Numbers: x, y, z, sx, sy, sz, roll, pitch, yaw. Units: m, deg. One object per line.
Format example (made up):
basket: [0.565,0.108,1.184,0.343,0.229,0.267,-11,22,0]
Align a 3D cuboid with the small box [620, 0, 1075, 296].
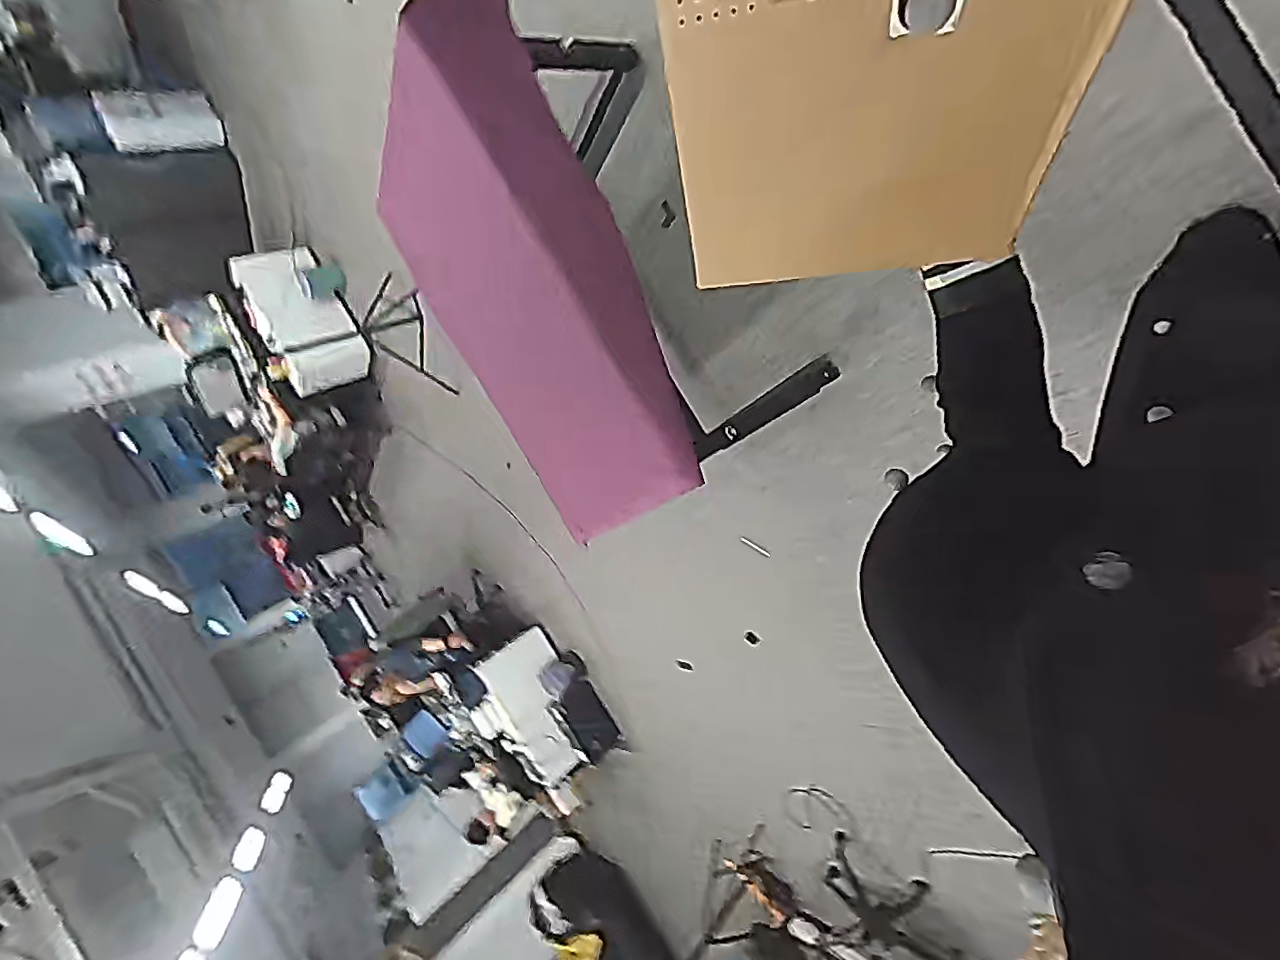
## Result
small box: [0.092,-0.224,0.268,0.168,0.179,0.176,-2,154,15]
